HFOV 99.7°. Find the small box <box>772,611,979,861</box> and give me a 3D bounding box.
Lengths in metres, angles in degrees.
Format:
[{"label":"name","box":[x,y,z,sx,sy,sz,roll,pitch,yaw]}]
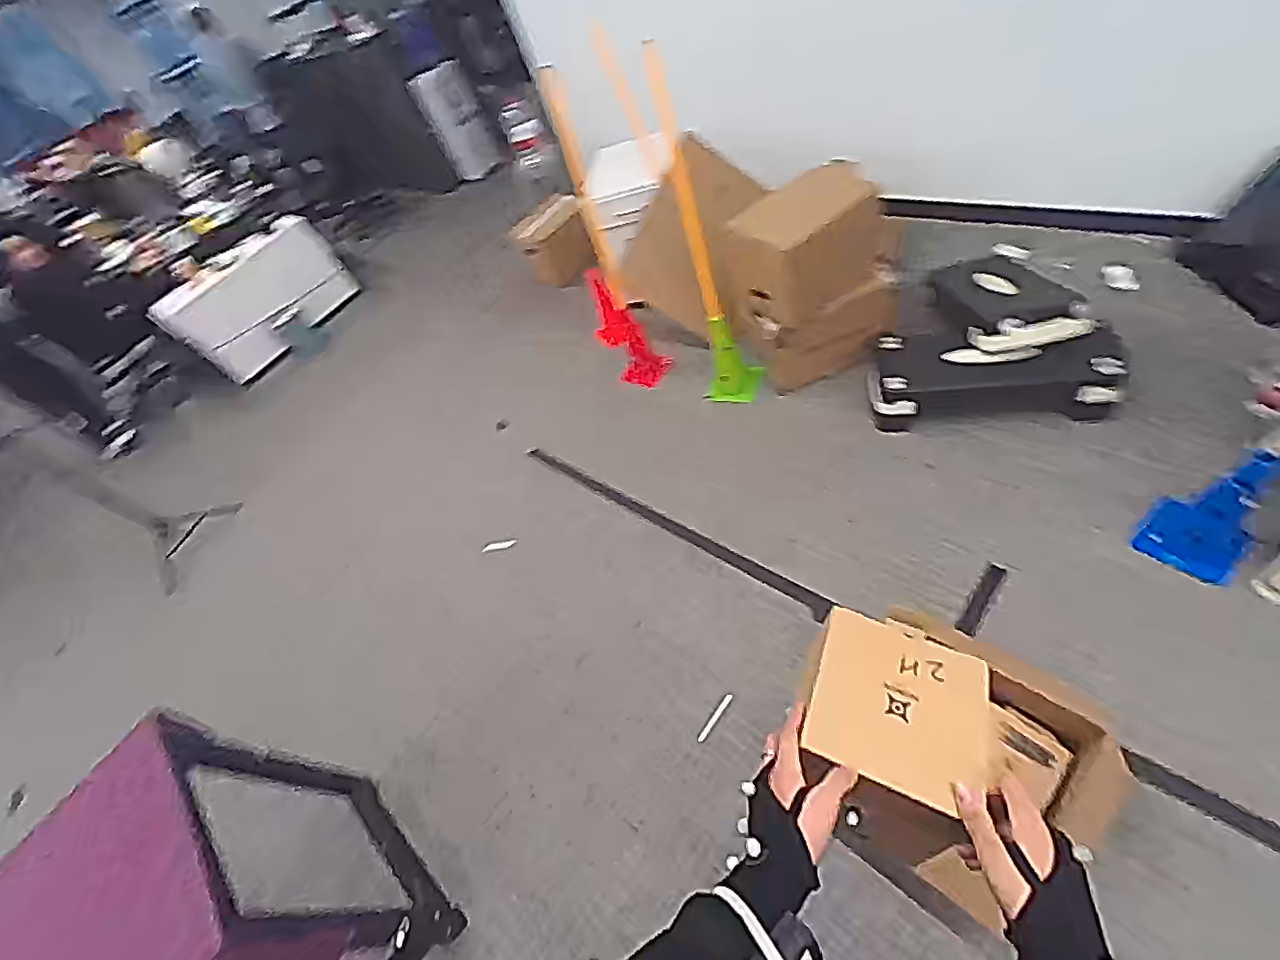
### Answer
[{"label":"small box","box":[0.257,0.289,0.611,0.168,0.176,0.179,18,46,16]}]
